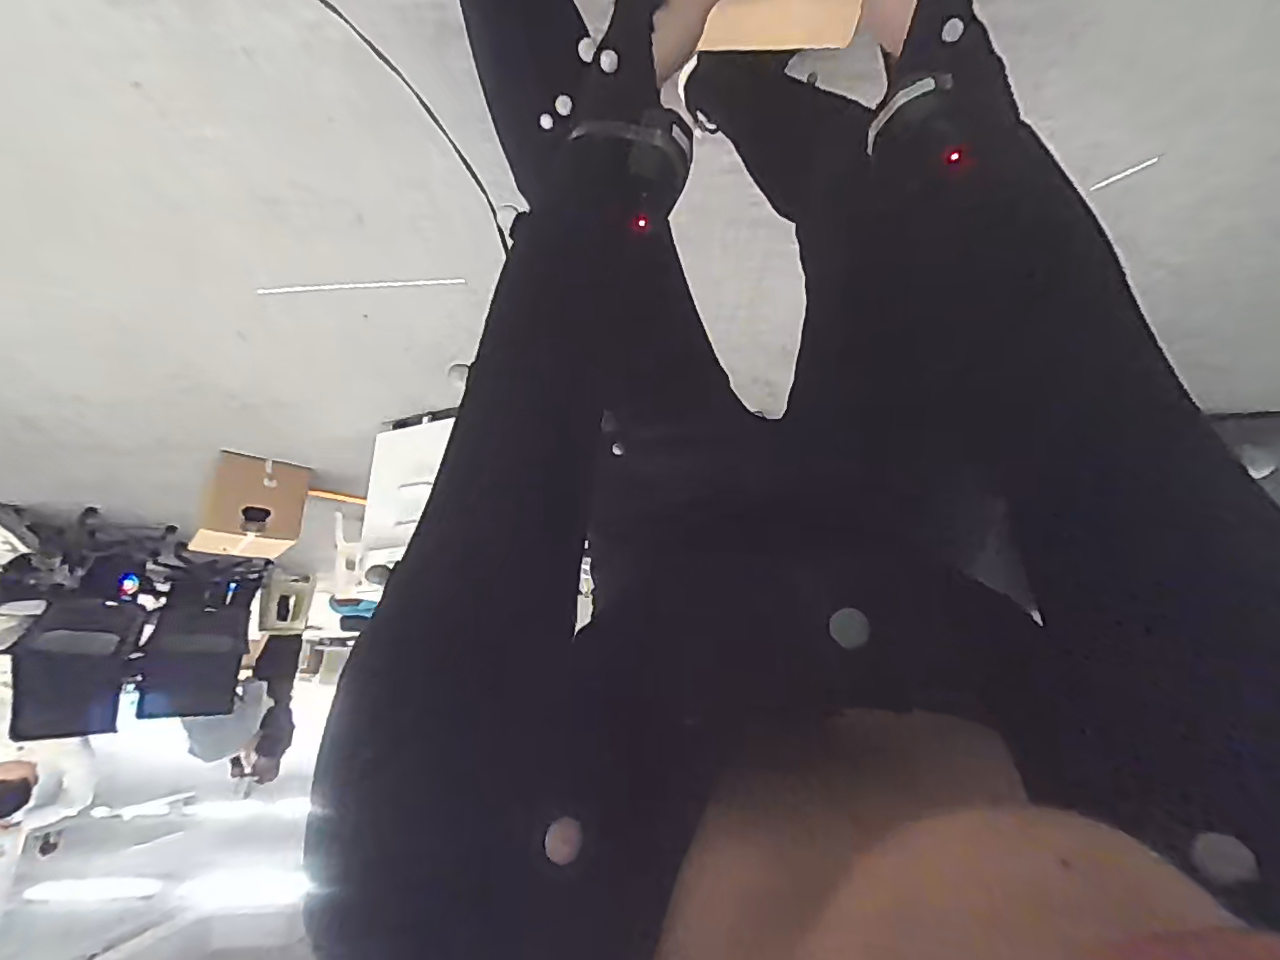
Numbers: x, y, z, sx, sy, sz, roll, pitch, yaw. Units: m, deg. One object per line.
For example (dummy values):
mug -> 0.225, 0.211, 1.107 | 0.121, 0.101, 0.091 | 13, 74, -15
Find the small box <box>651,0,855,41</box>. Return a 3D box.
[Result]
small box -> 0.095, -0.504, 0.442 | 0.179, 0.176, 0.168 | -1, 158, 1
